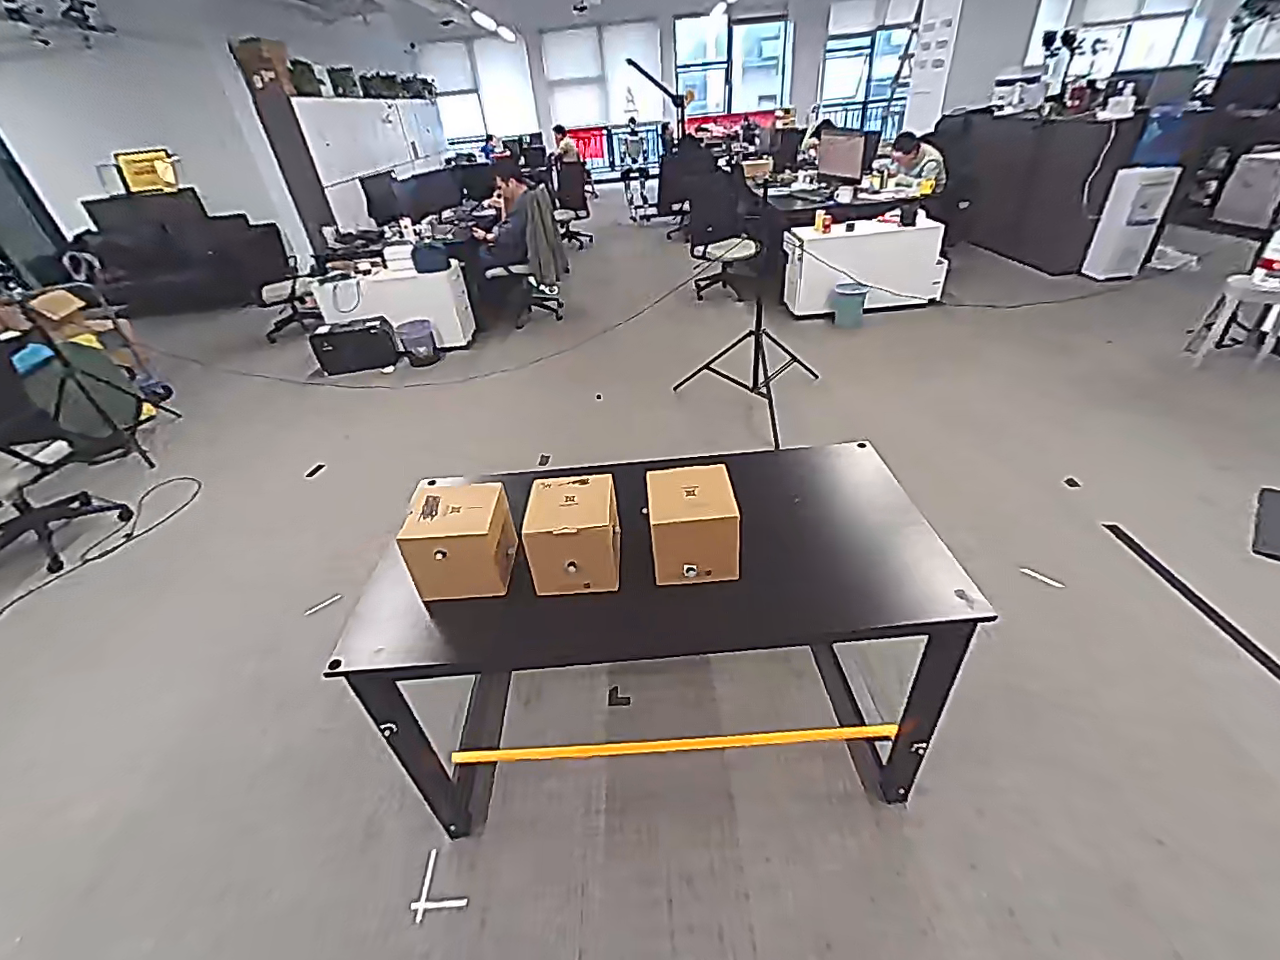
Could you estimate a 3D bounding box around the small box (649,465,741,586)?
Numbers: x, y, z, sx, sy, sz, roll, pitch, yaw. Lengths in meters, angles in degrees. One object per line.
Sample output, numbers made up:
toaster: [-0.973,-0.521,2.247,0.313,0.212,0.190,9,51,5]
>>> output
small box: [0.107,0.092,1.107,0.168,0.176,0.179,-6,36,1]

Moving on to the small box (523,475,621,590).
small box: [-0.130,0.111,1.111,0.168,0.176,0.179,-4,36,2]

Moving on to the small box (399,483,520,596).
small box: [-0.362,0.125,1.120,0.179,0.176,0.168,-4,35,1]
